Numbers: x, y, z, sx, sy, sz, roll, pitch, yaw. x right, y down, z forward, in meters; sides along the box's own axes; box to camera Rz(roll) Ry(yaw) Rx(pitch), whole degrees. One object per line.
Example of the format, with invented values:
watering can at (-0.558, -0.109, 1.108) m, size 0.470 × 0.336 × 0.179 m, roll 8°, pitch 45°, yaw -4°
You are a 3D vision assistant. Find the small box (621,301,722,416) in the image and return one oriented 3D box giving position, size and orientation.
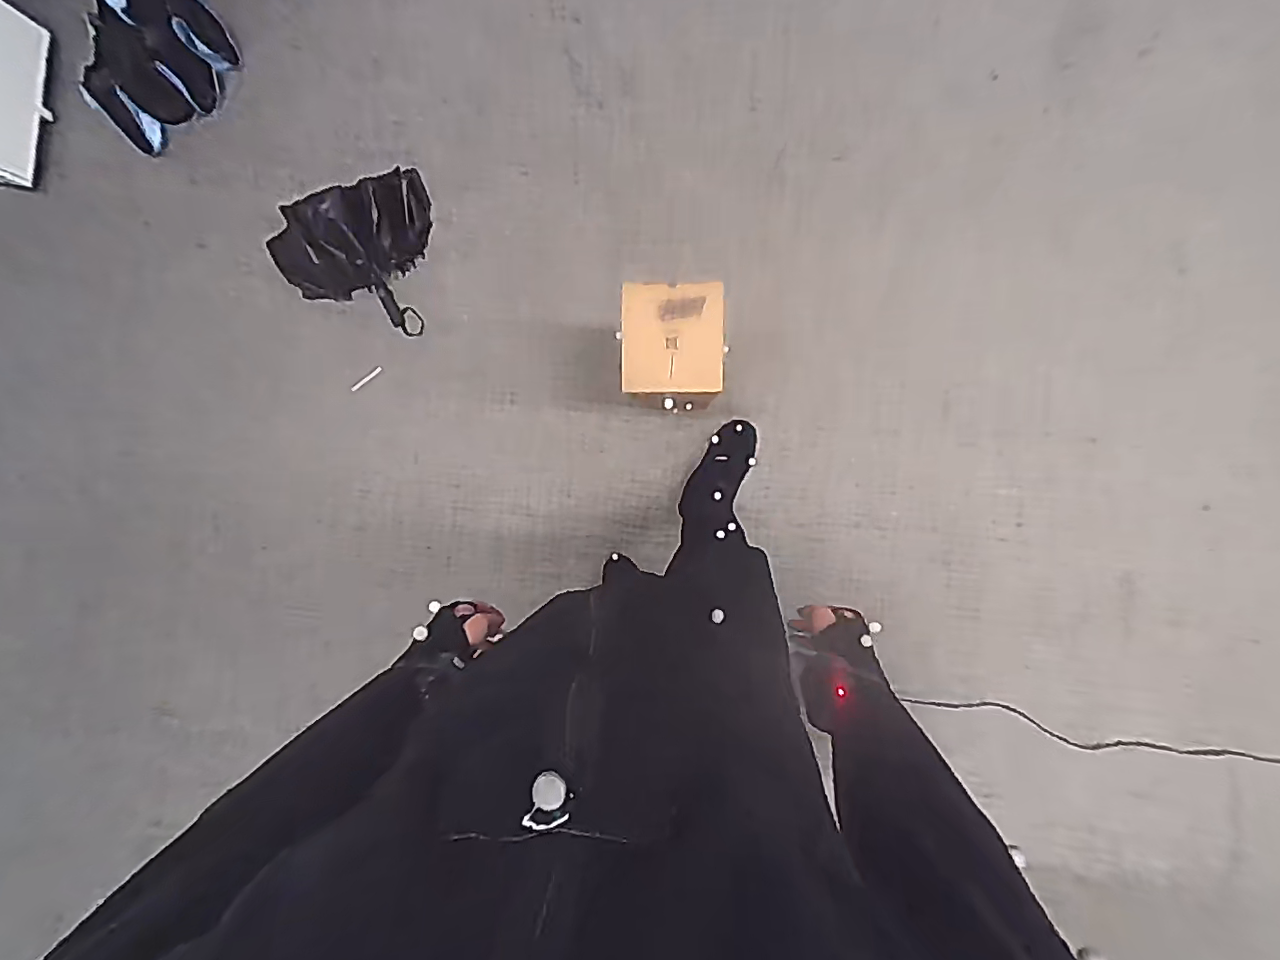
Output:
small box at (0.054, -0.208, 0.961) m, size 0.168 × 0.176 × 0.179 m, roll 0°, pitch 94°, yaw 4°
